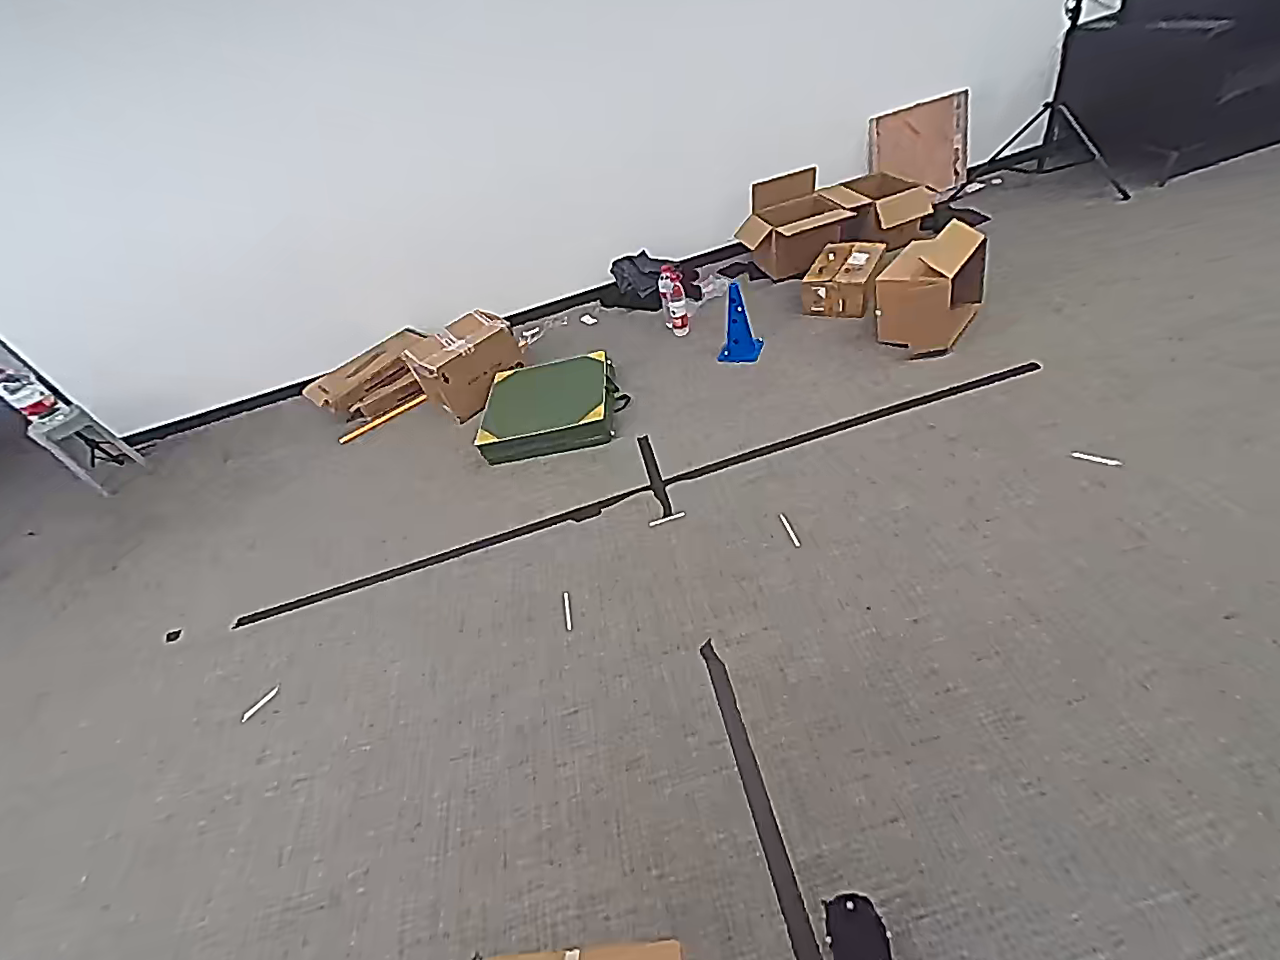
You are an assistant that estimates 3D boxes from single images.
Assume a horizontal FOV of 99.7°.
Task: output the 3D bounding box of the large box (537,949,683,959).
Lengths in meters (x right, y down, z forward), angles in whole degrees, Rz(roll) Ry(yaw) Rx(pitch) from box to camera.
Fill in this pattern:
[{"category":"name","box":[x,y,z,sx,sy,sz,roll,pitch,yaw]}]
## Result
[{"category":"large box","box":[-0.074,0.840,0.580,0.320,0.320,0.408,-4,0,0]}]
